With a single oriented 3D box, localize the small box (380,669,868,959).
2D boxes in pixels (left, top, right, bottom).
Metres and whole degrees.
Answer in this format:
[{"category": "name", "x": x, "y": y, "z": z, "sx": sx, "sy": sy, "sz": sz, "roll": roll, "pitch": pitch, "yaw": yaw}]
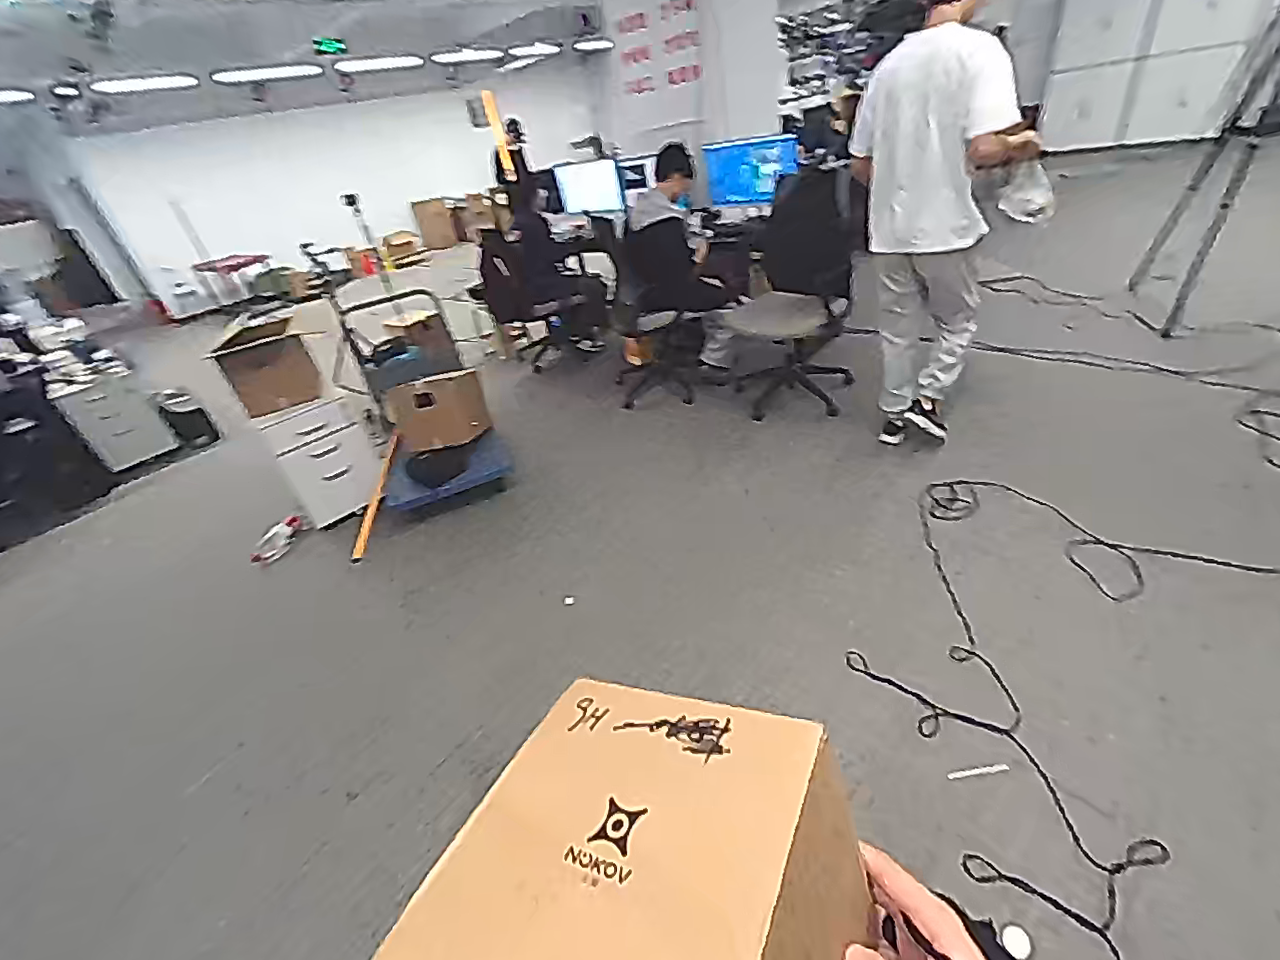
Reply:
[{"category": "small box", "x": 0.013, "y": 0.237, "z": 0.290, "sx": 0.168, "sy": 0.176, "sz": 0.179, "roll": -4, "pitch": 28, "yaw": 35}]
